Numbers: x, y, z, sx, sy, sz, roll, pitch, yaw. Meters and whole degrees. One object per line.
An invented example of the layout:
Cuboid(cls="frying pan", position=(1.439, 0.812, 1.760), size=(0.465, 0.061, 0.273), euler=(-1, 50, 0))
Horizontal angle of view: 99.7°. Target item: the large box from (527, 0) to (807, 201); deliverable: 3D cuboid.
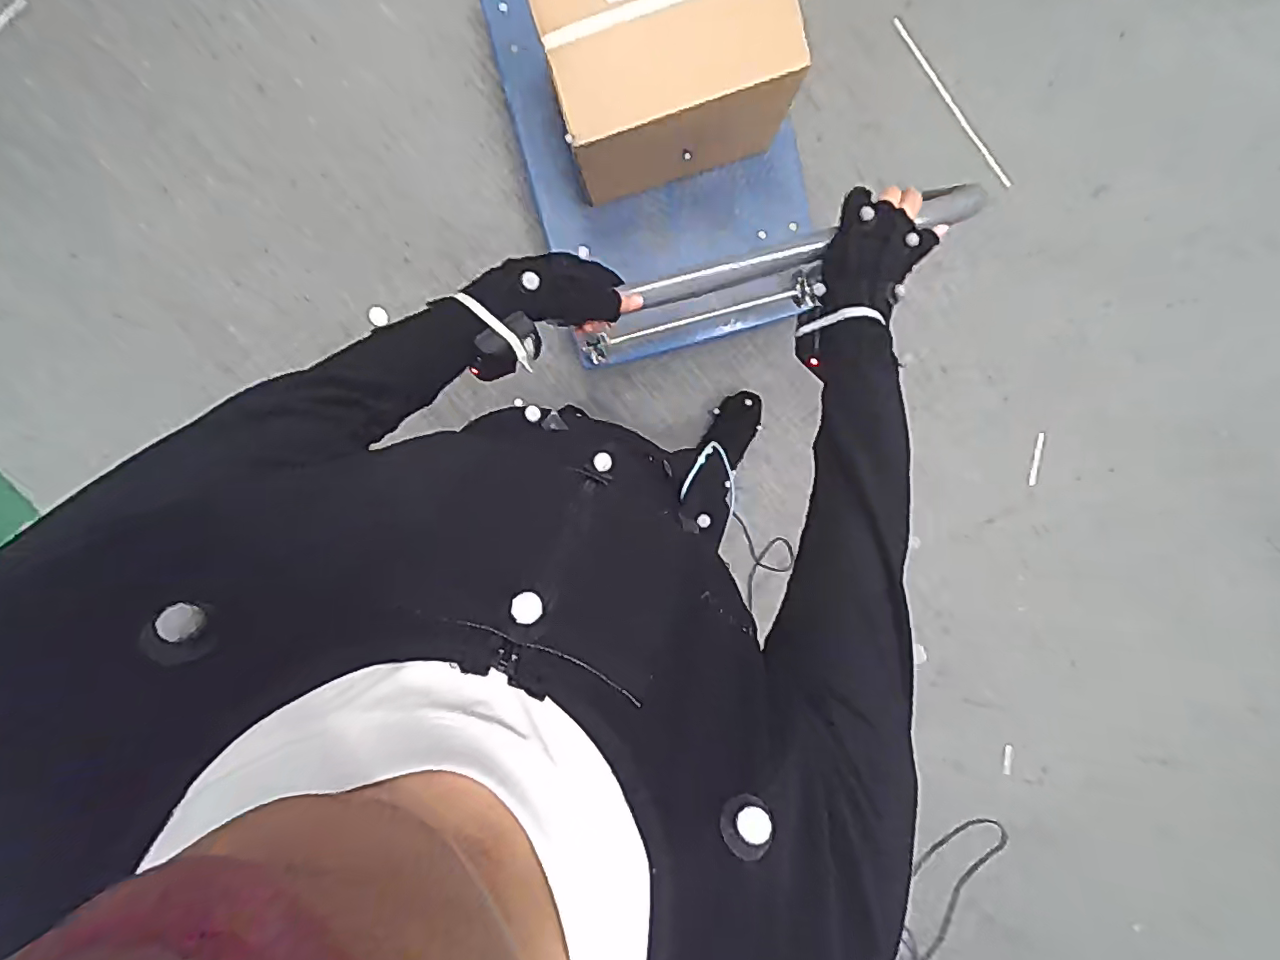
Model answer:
Cuboid(cls="large box", position=(0.039, -0.781, 1.001), size=(0.408, 0.320, 0.320), euler=(-17, 99, 4))
